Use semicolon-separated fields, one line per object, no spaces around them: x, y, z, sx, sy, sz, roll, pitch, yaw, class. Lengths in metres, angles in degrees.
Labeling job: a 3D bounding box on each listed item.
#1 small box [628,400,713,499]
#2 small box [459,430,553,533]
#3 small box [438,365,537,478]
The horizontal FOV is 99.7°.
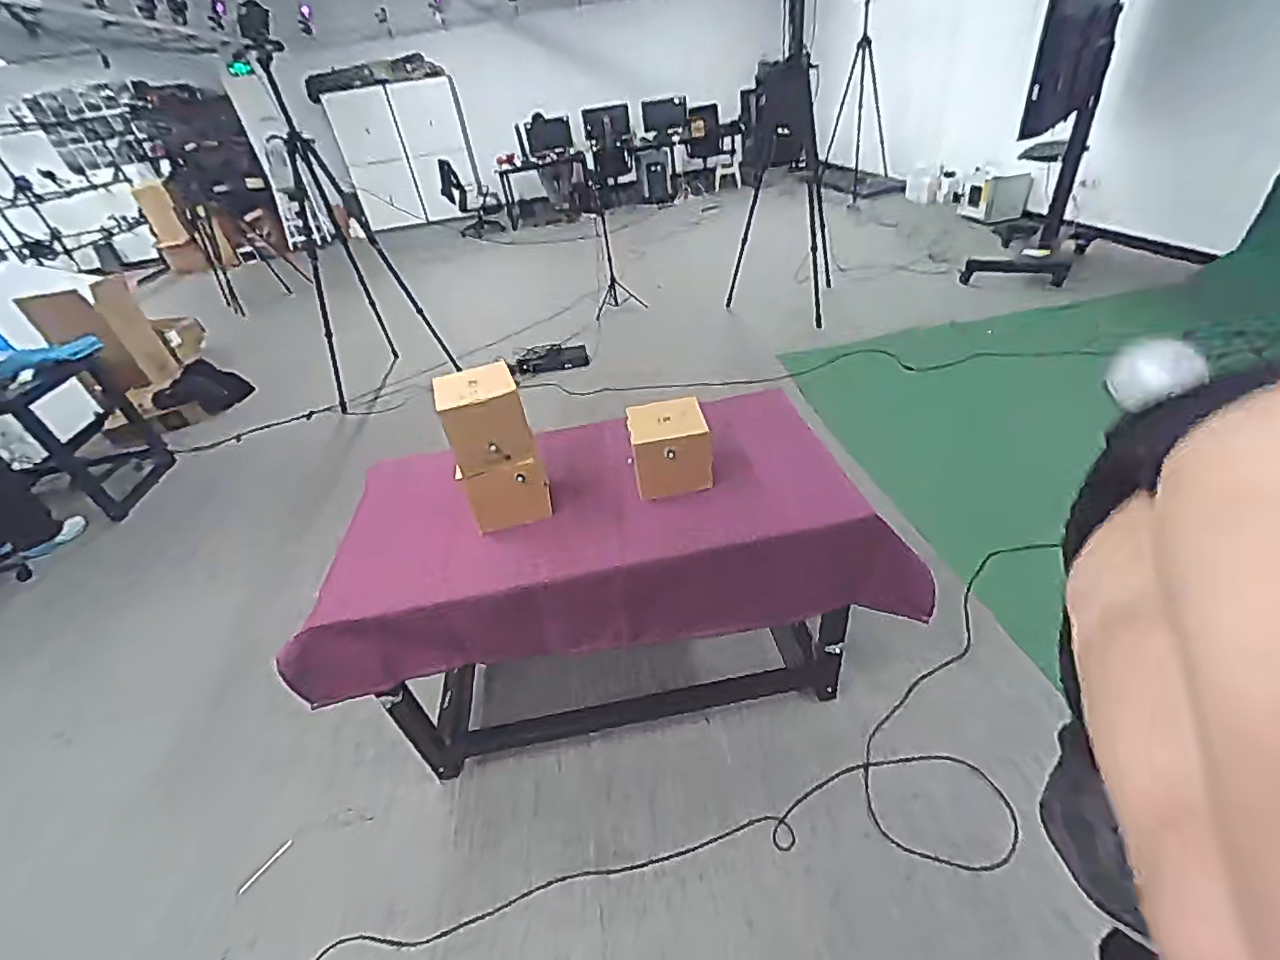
0.074;-0.070;1.303;0.179;0.176;0.168;-9;37;-1;small box
-0.315;0.006;1.292;0.179;0.176;0.168;-13;36;-6;small box
-0.339;-0.132;1.204;0.168;0.176;0.179;-18;37;-12;small box
